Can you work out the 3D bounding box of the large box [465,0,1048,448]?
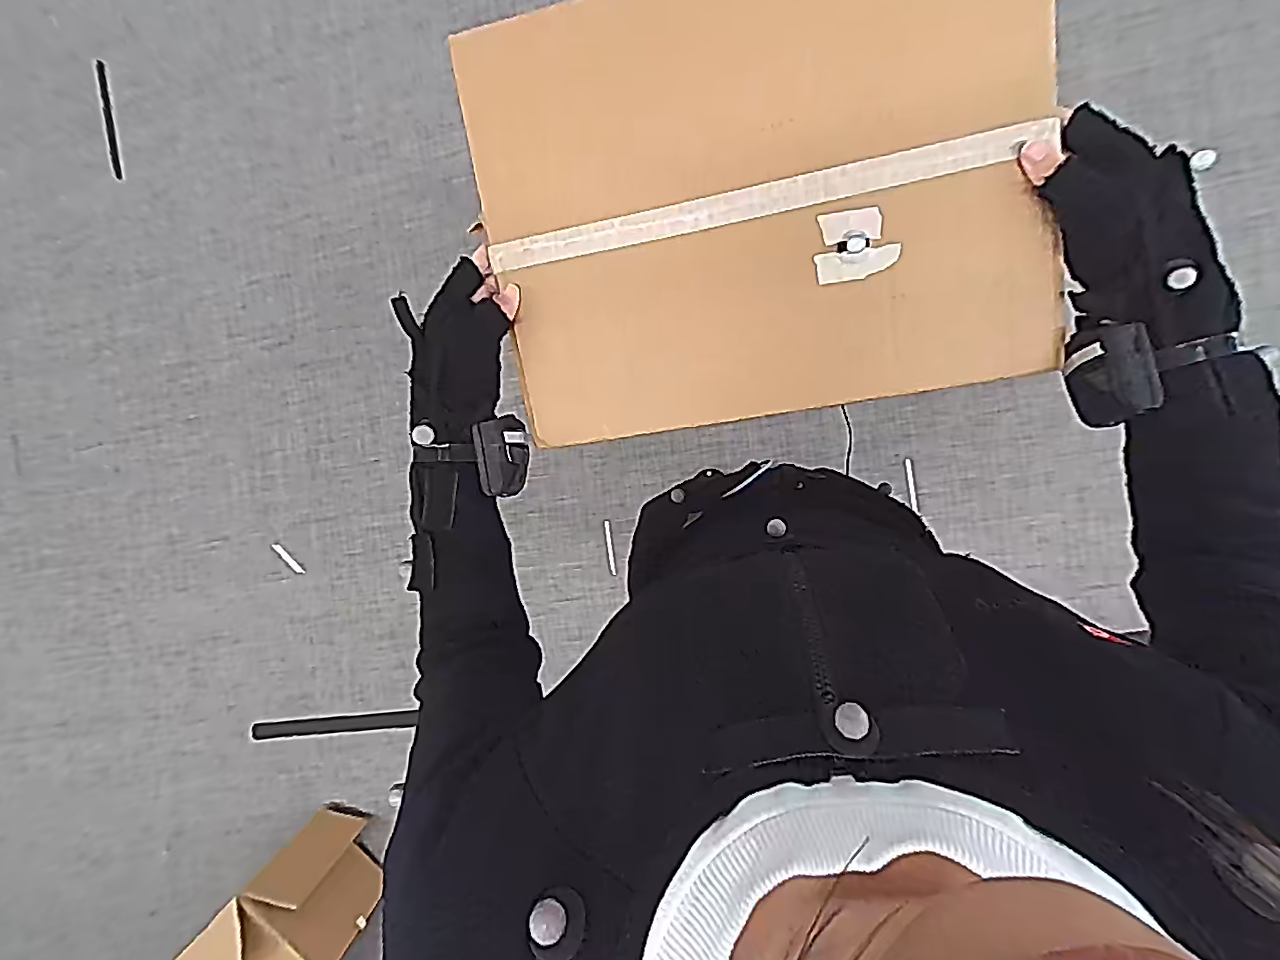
[{"bbox_3d":[0.102,-0.236,0.553,0.408,0.320,0.320,-9,102,9],"label":"large box"}]
